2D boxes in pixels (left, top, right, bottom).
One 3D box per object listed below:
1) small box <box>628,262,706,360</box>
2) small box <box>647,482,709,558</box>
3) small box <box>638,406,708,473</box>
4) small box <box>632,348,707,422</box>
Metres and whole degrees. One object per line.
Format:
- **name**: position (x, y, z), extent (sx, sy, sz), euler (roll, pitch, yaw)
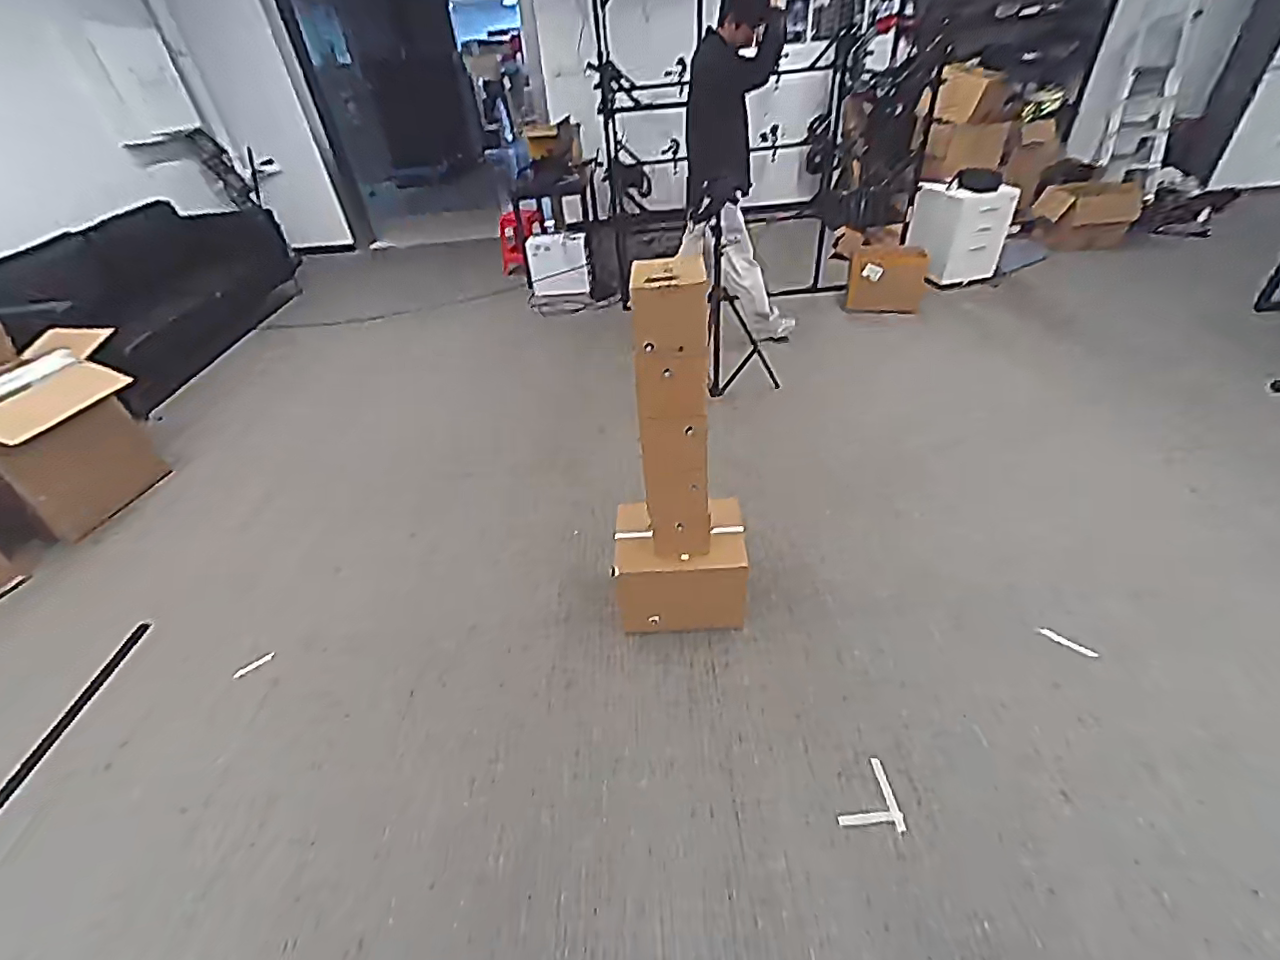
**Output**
- **small box**: position (0.065, -0.386, 1.249), extent (0.168, 0.176, 0.179), euler (-3, 39, 4)
- **small box**: position (0.117, 0.125, 1.656), extent (0.179, 0.176, 0.168), euler (-4, 40, 0)
- **small box**: position (0.089, -0.132, 1.452), extent (0.179, 0.176, 0.168), euler (-2, 39, 4)
- **small box**: position (0.076, -0.258, 1.352), extent (0.179, 0.176, 0.168), euler (-3, 40, 5)
